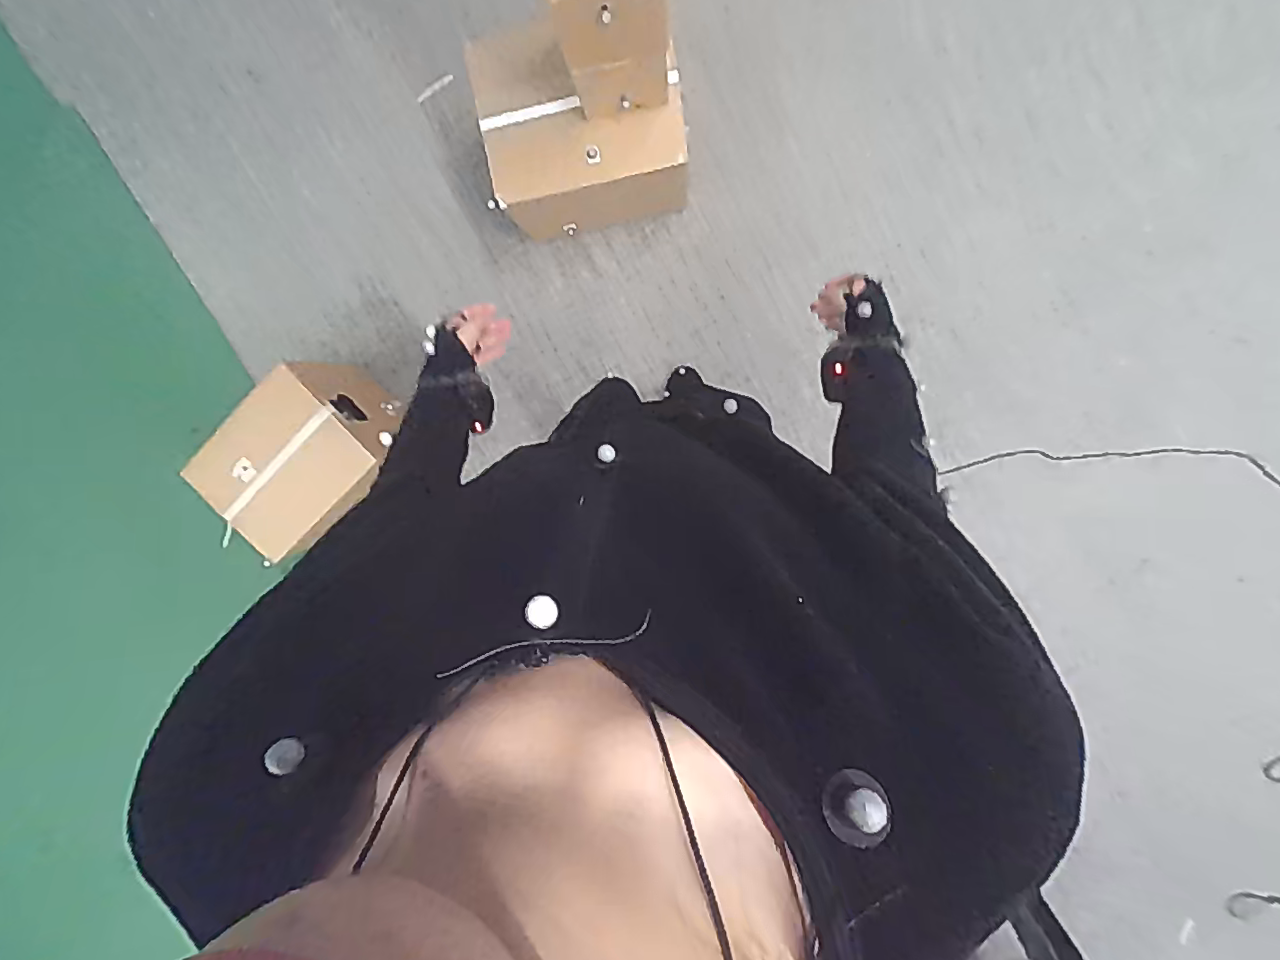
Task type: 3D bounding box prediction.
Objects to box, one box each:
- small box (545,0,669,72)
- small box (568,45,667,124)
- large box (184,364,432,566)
[{"bbox_3d":[-0.050,-0.756,0.806,0.179,0.176,0.168,-7,99,6],"label":"small box"},{"bbox_3d":[-0.045,-0.782,0.966,0.168,0.176,0.179,-8,99,6],"label":"small box"},{"bbox_3d":[-0.841,-0.057,1.418,0.408,0.320,0.320,-41,95,12],"label":"large box"}]
